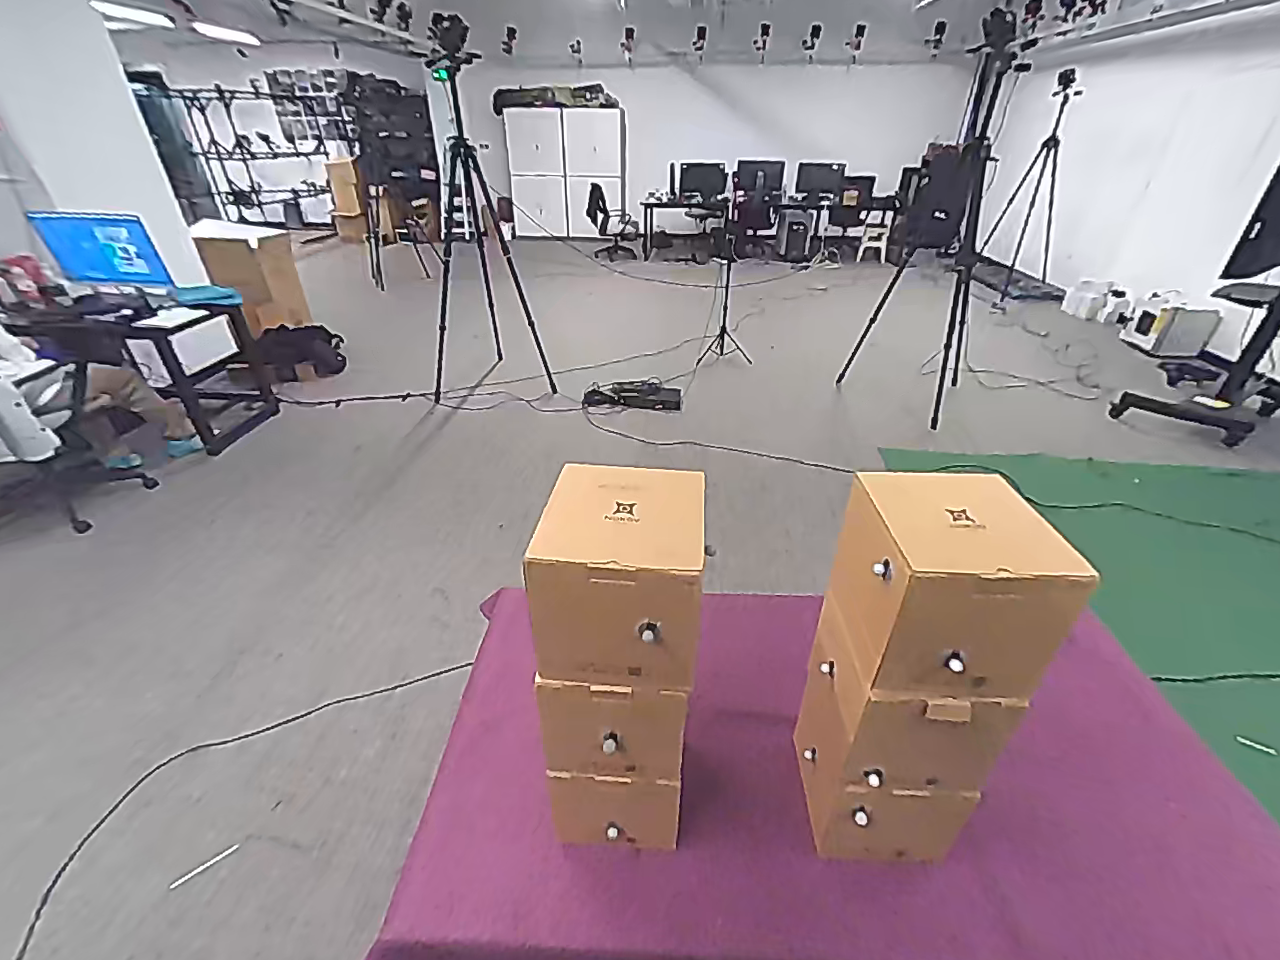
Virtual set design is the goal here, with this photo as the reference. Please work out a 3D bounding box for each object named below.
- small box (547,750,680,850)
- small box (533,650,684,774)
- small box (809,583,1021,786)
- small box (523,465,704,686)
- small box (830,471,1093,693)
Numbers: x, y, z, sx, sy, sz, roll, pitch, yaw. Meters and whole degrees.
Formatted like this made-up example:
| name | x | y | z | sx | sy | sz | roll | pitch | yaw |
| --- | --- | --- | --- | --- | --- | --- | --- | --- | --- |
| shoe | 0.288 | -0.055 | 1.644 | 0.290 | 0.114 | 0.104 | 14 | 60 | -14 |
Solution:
| name | x | y | z | sx | sy | sz | roll | pitch | yaw |
| --- | --- | --- | --- | --- | --- | --- | --- | --- | --- |
| small box | -0.028 | 0.383 | 0.766 | 0.168 | 0.176 | 0.179 | 2 | 32 | 3 |
| small box | -0.028 | 0.242 | 0.682 | 0.168 | 0.176 | 0.179 | 3 | 33 | 3 |
| small box | 0.319 | 0.250 | 0.671 | 0.168 | 0.176 | 0.179 | 1 | 31 | 2 |
| small box | -0.017 | 0.101 | 0.598 | 0.168 | 0.176 | 0.179 | 4 | 31 | 5 |
| small box | 0.322 | 0.107 | 0.593 | 0.168 | 0.176 | 0.179 | 1 | 32 | 1 |
